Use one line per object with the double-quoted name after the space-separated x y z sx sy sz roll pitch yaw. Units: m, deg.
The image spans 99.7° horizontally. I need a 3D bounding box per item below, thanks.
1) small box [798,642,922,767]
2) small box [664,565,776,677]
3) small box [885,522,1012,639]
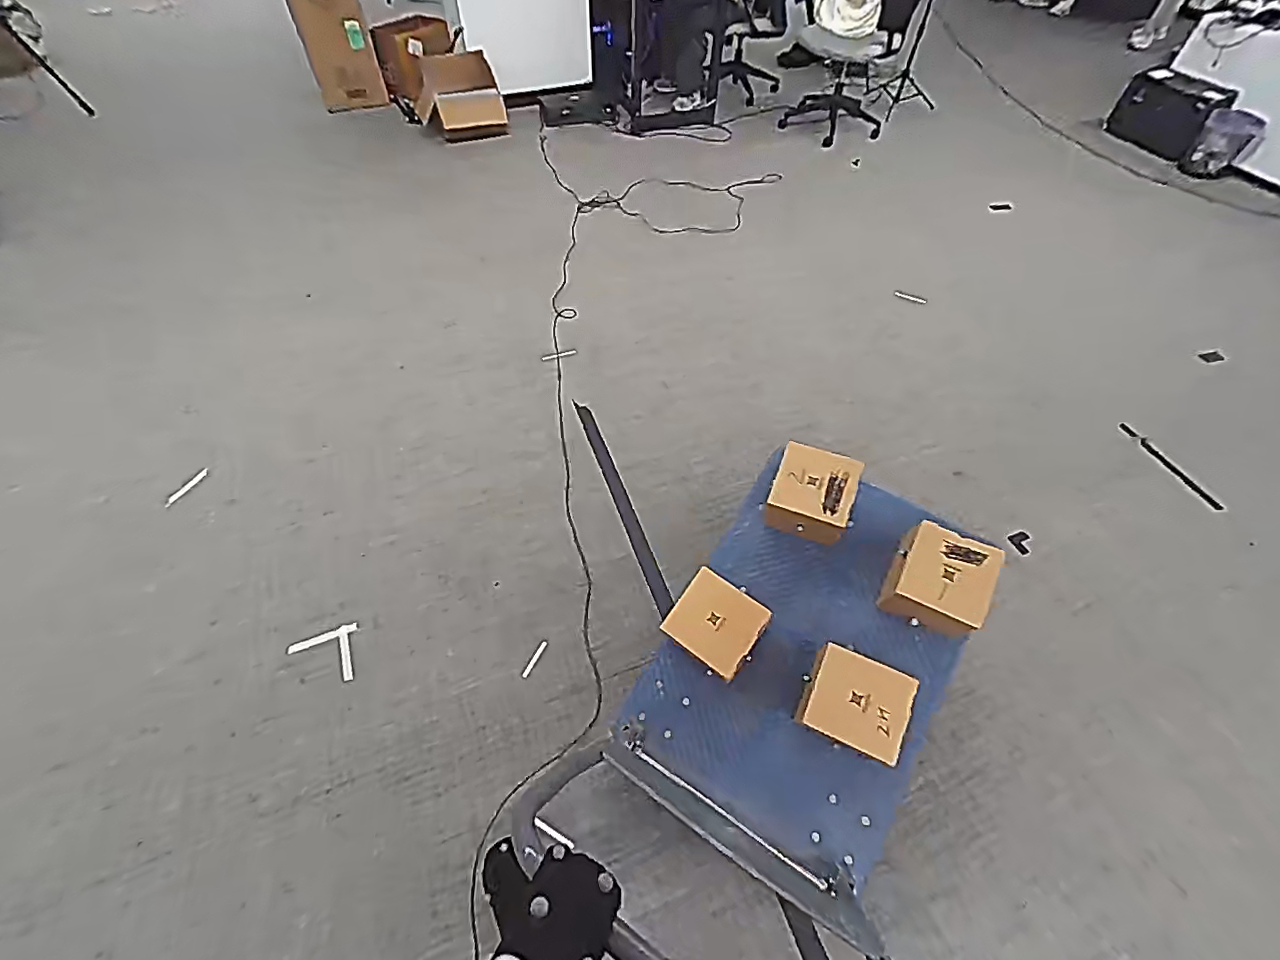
0.435 0.452 1.094 0.179 0.176 0.168 22 73 18 "small box"
0.176 0.319 1.197 0.179 0.176 0.168 34 77 20 "small box"
0.648 0.219 1.155 0.168 0.176 0.179 25 75 19 "small box"
